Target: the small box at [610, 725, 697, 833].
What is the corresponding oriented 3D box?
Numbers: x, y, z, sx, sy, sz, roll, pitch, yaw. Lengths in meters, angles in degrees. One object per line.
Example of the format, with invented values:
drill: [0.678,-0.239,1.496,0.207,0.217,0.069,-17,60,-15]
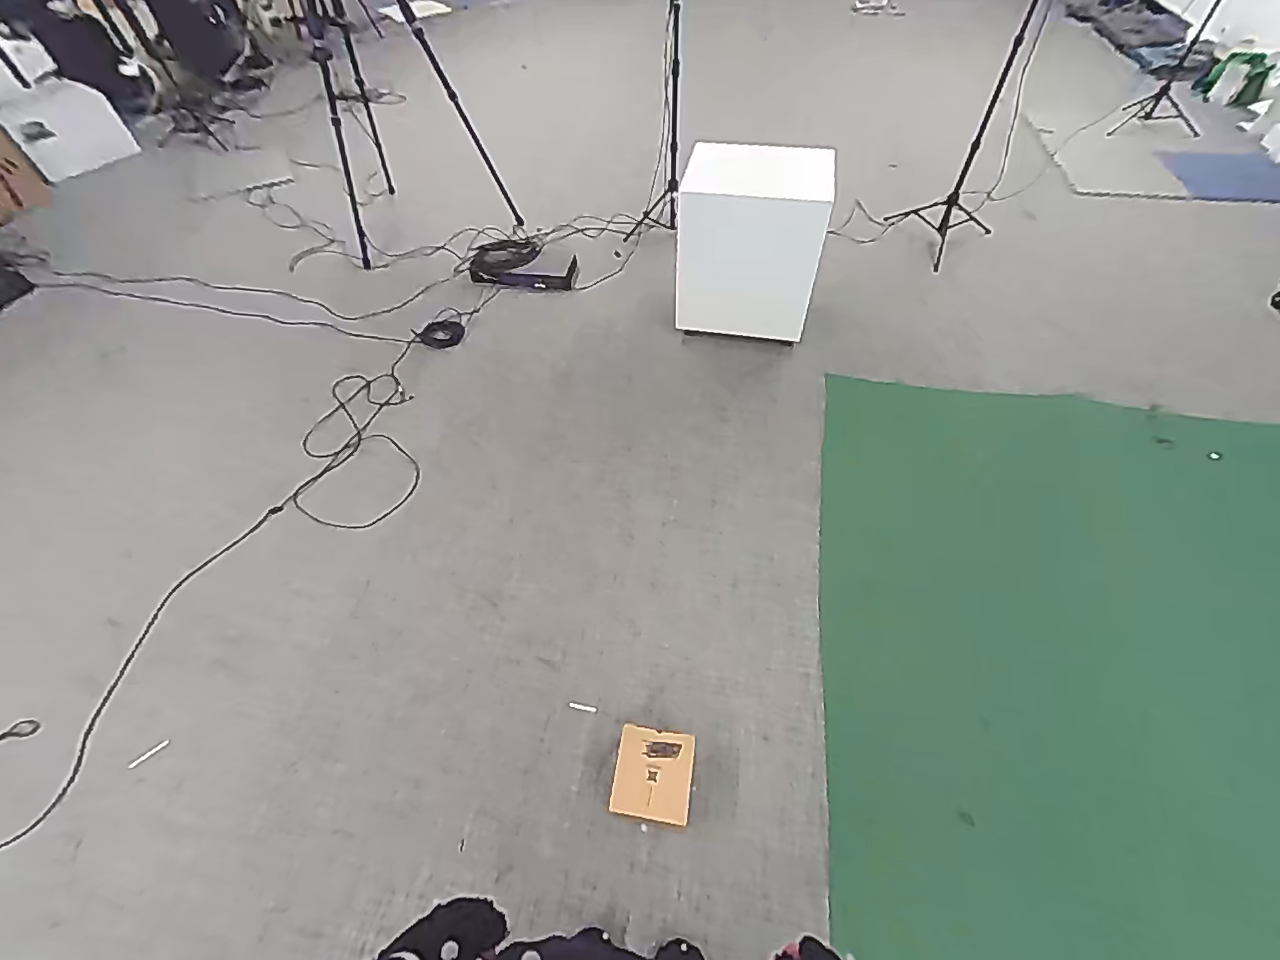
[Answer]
small box: [0.032,0.676,1.219,0.168,0.176,0.179,7,54,7]
